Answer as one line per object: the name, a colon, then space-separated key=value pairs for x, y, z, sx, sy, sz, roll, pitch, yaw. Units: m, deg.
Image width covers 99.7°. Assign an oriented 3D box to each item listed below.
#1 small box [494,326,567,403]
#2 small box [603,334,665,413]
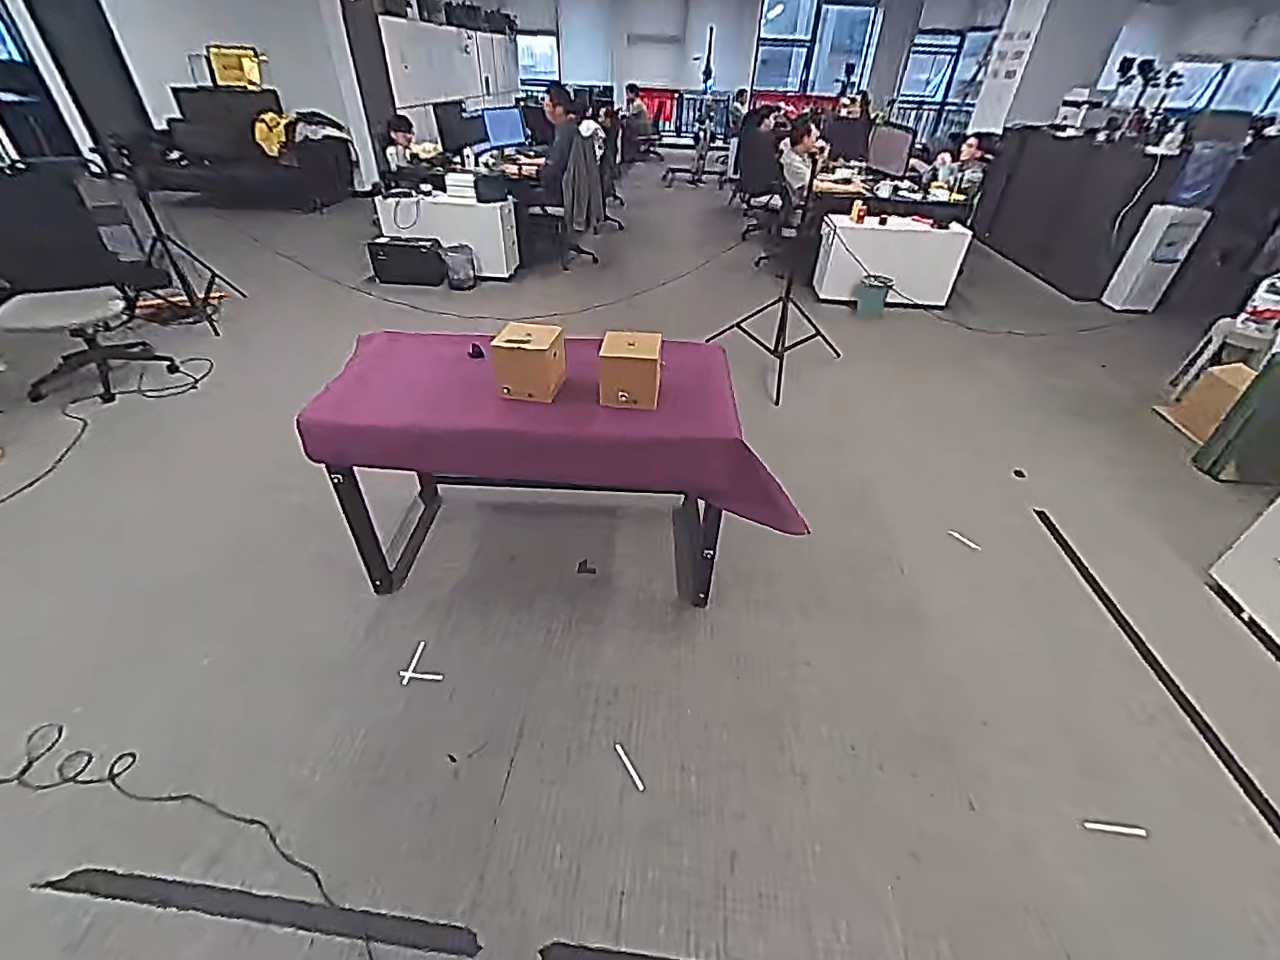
small box: x=-0.317 y=-0.345 z=1.615 sx=0.168 sy=0.176 sz=0.179 roll=7 pitch=36 yaw=6
small box: x=-0.017 y=-0.317 z=1.598 sx=0.168 sy=0.176 sz=0.179 roll=3 pitch=38 yaw=3
